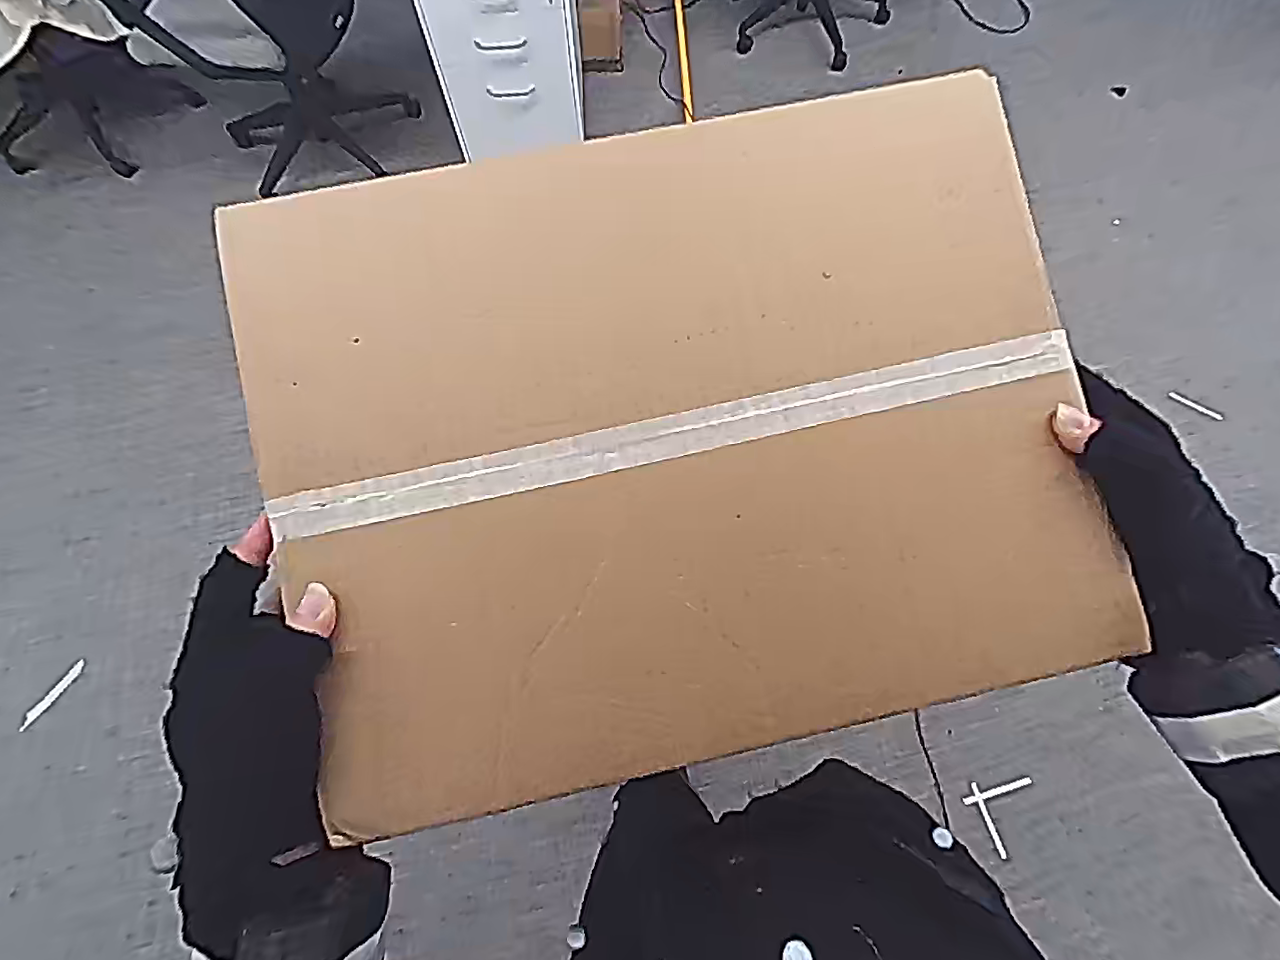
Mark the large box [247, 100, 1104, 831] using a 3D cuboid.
[{"bbox_3d":[0.017,-0.011,0.429,0.408,0.320,0.320,-12,86,-3],"label":"large box"}]
